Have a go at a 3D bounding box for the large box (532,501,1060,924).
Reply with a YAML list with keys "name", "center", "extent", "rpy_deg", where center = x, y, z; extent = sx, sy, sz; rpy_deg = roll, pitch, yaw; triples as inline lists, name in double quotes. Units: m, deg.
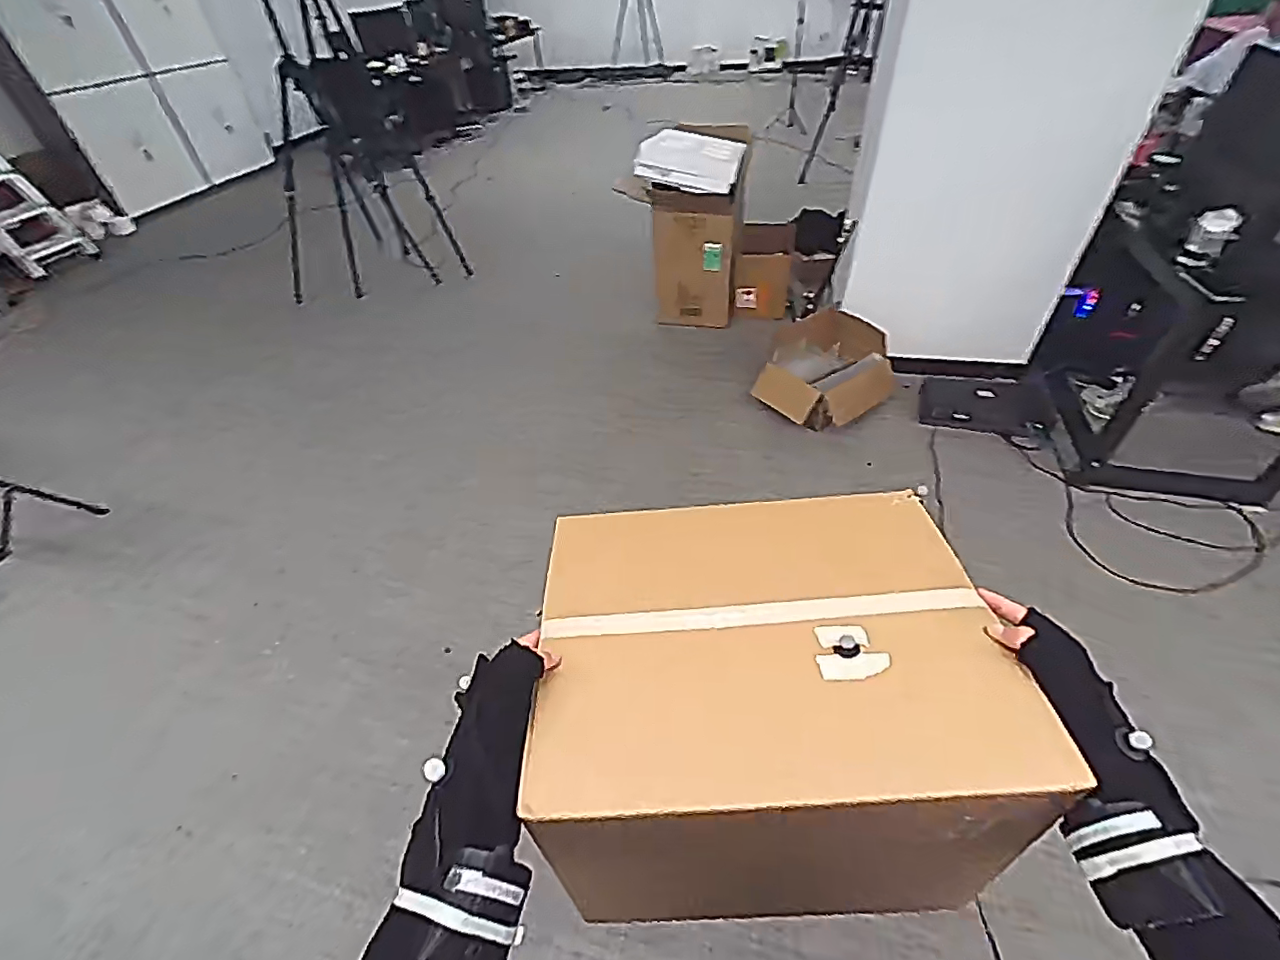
- name: "large box"
  center: [0.120, 0.253, 0.607]
  extent: [0.408, 0.320, 0.320]
  rpy_deg: [-5, 39, 2]
